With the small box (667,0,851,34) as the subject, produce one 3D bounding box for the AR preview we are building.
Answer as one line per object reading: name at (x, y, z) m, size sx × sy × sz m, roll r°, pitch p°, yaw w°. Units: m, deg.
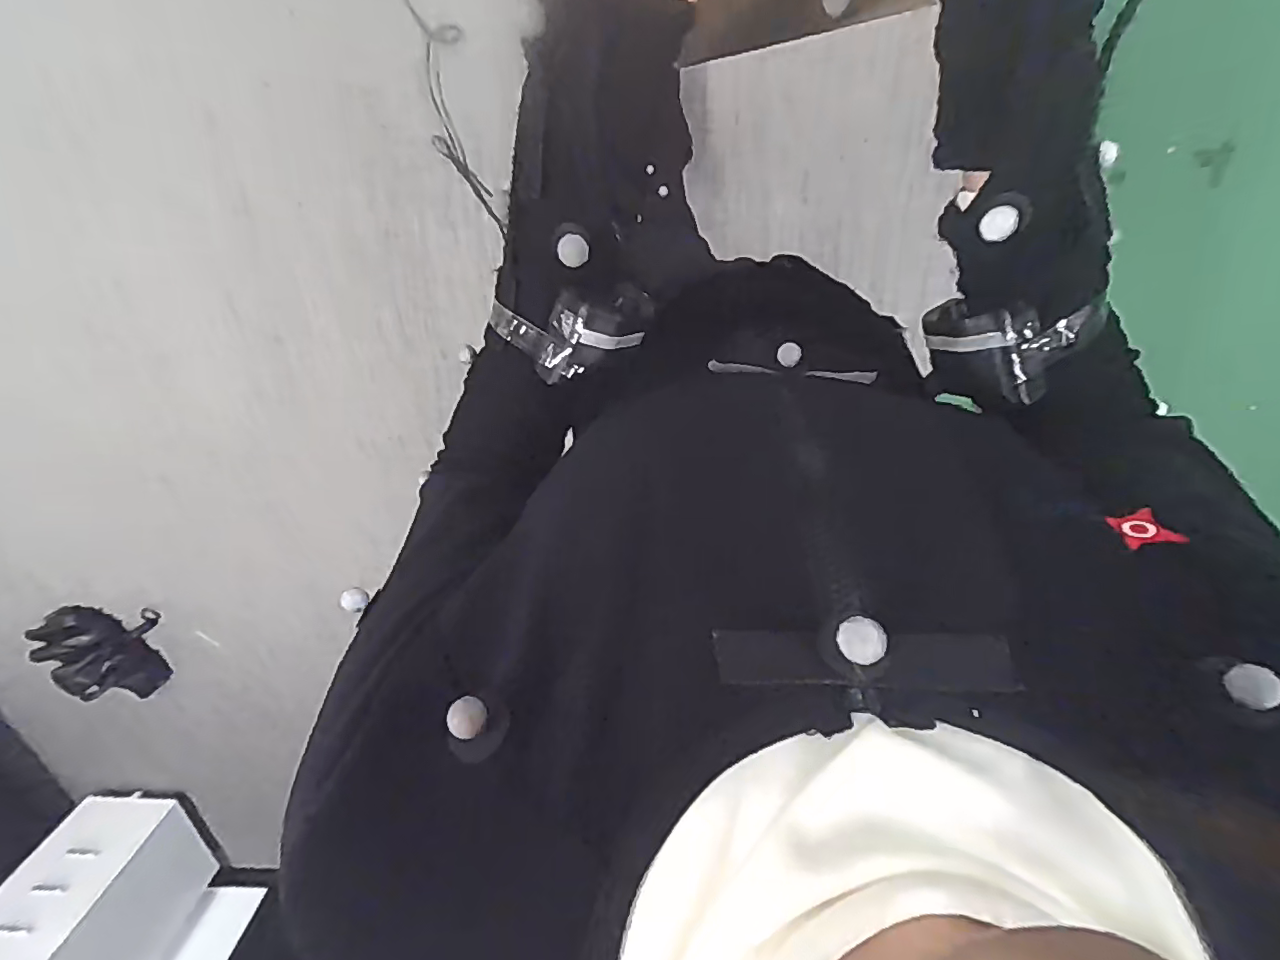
small box at (0.079, -0.339, 0.238) m, size 0.168 × 0.176 × 0.179 m, roll -9°, pitch 109°, yaw 9°
